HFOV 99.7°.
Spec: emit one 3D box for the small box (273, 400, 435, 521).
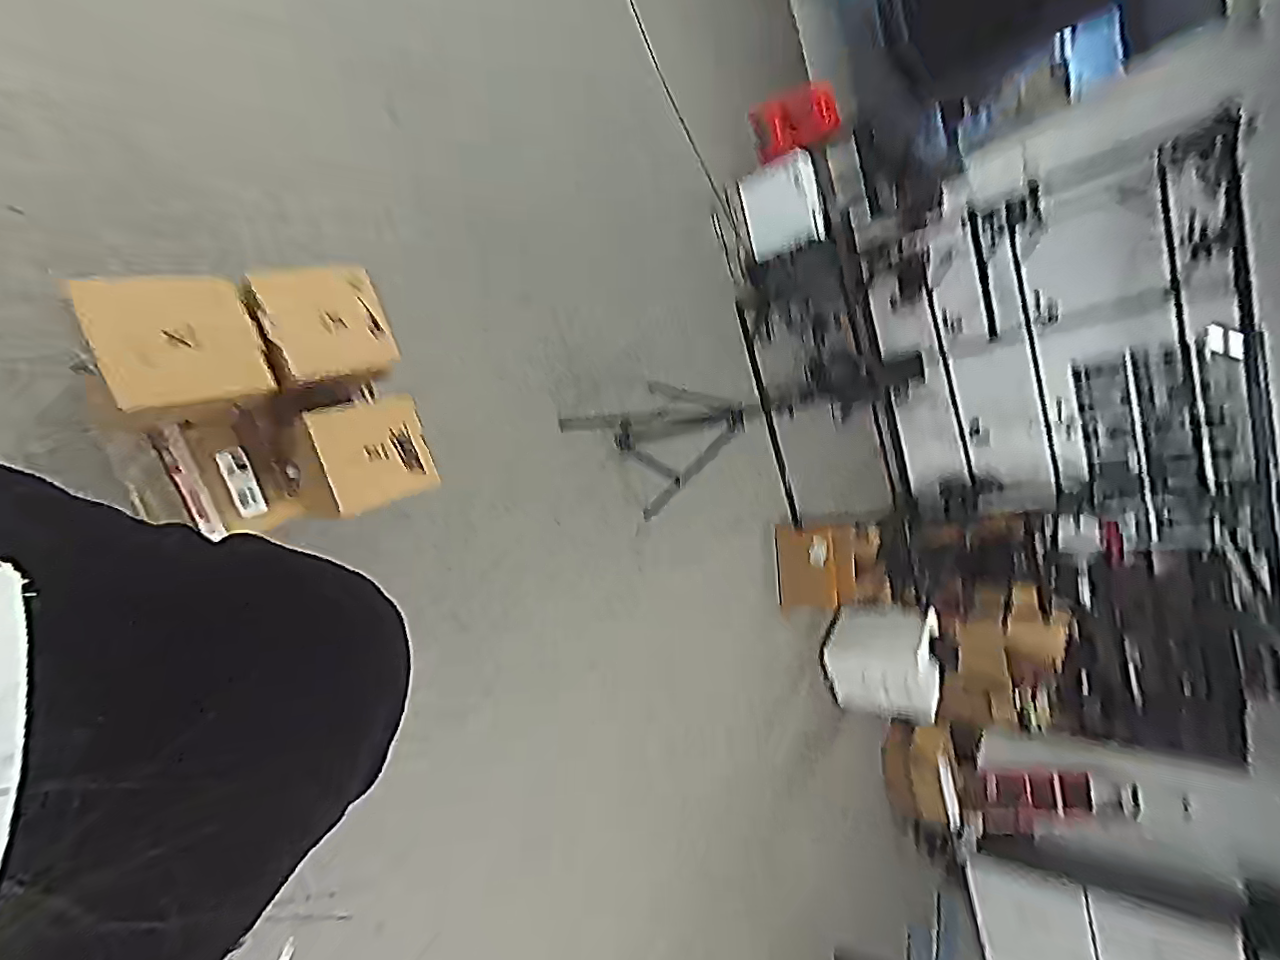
[{"bbox_3d":[-0.497,-0.033,0.942,0.179,0.176,0.168,-25,103,-46],"label":"small box"}]
